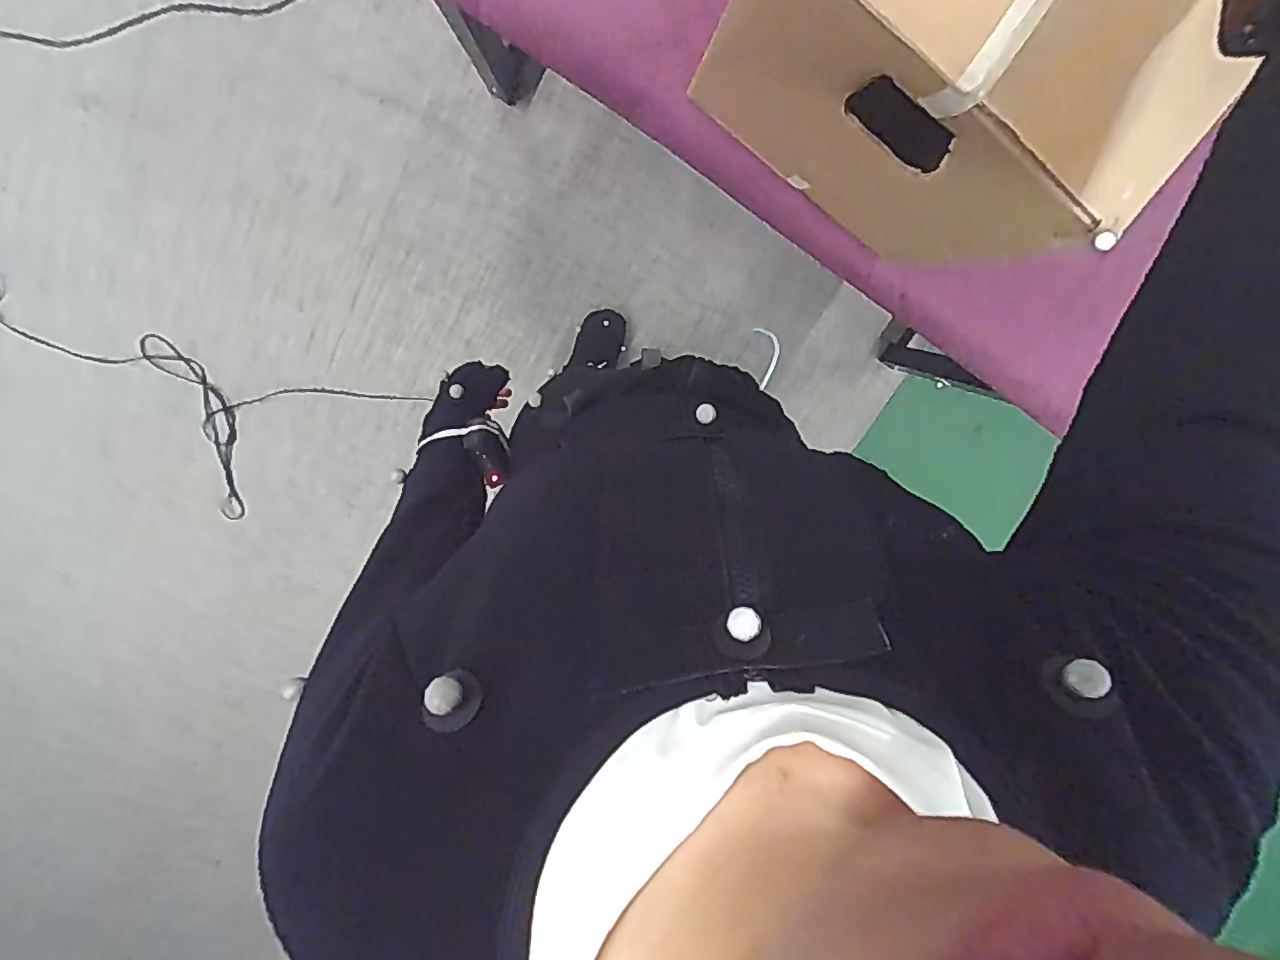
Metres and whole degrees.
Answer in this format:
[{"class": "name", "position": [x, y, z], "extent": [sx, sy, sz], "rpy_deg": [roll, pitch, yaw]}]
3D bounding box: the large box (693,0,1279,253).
[{"class": "large box", "position": [0.298, -0.462, 0.453], "extent": [0.320, 0.320, 0.408], "rpy_deg": [31, 105, -14]}]
